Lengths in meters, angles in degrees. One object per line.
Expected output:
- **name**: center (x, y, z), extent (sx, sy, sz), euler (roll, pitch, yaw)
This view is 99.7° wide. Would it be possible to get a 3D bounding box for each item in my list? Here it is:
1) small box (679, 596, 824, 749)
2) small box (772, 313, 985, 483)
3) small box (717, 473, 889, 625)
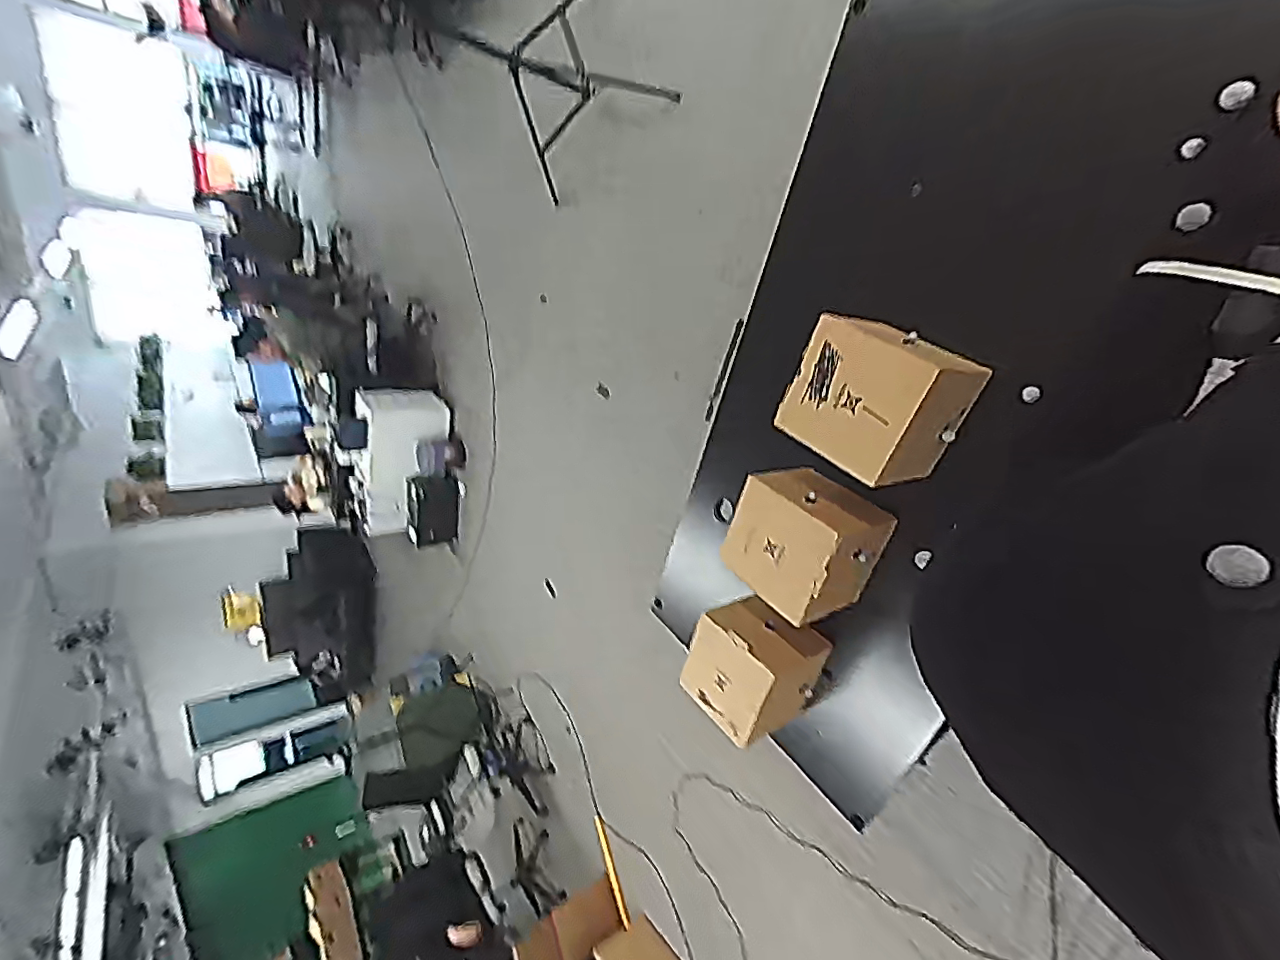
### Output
- **small box**: center (0.201, 0.330, 0.968), extent (0.168, 0.176, 0.179), euler (37, 122, 42)
- **small box**: center (0.325, -0.114, 0.747), extent (0.179, 0.176, 0.168), euler (43, 126, 38)
- **small box**: center (0.260, 0.097, 0.863), extent (0.179, 0.176, 0.168), euler (39, 123, 42)
